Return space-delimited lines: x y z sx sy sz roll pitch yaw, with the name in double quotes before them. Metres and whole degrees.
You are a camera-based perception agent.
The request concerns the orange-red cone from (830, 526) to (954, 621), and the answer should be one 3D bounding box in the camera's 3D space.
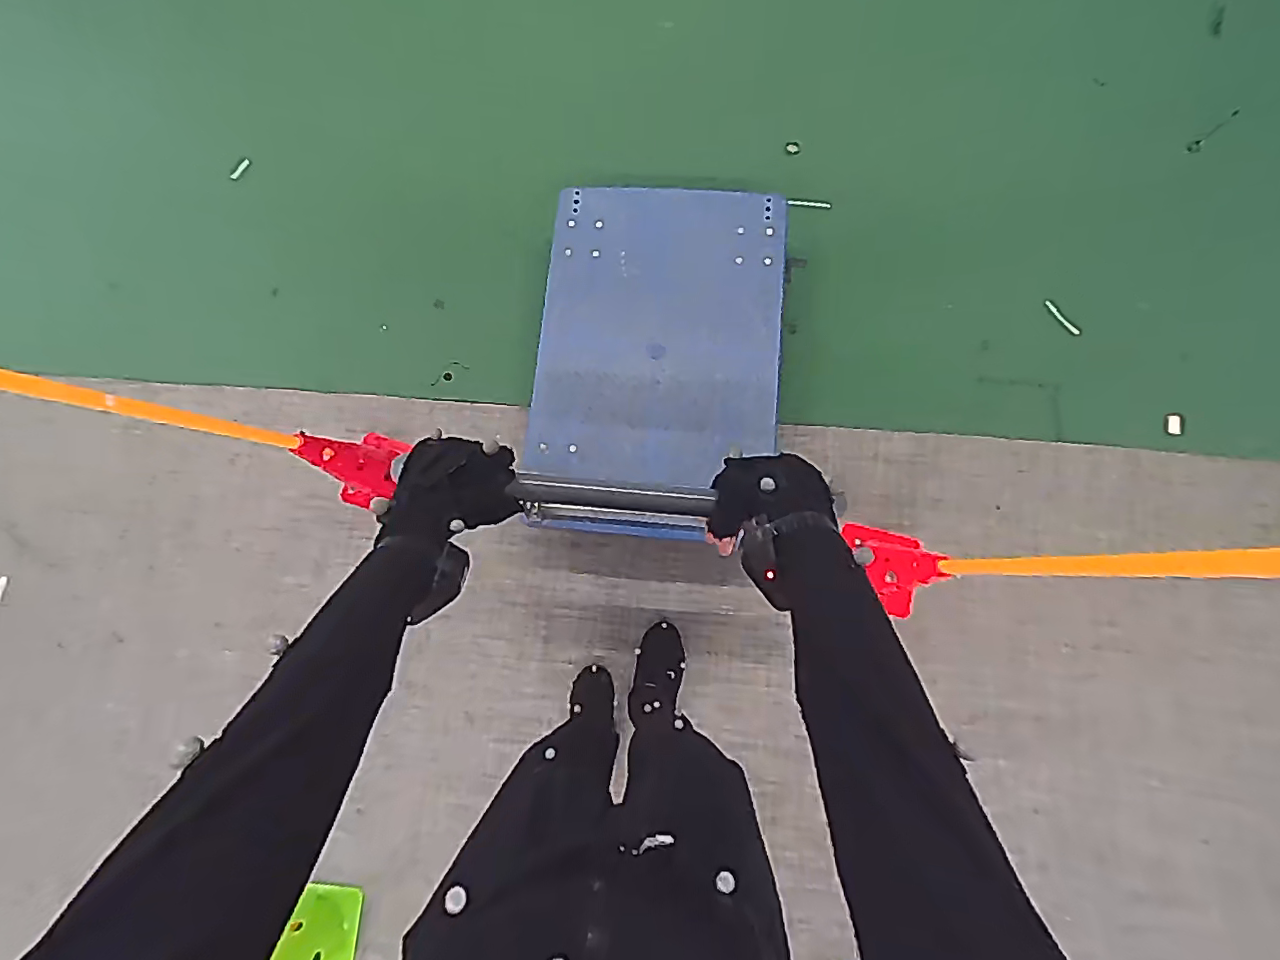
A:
"orange-red cone" 0.570 0.196 1.159 0.198 0.360 0.199 15 81 7
